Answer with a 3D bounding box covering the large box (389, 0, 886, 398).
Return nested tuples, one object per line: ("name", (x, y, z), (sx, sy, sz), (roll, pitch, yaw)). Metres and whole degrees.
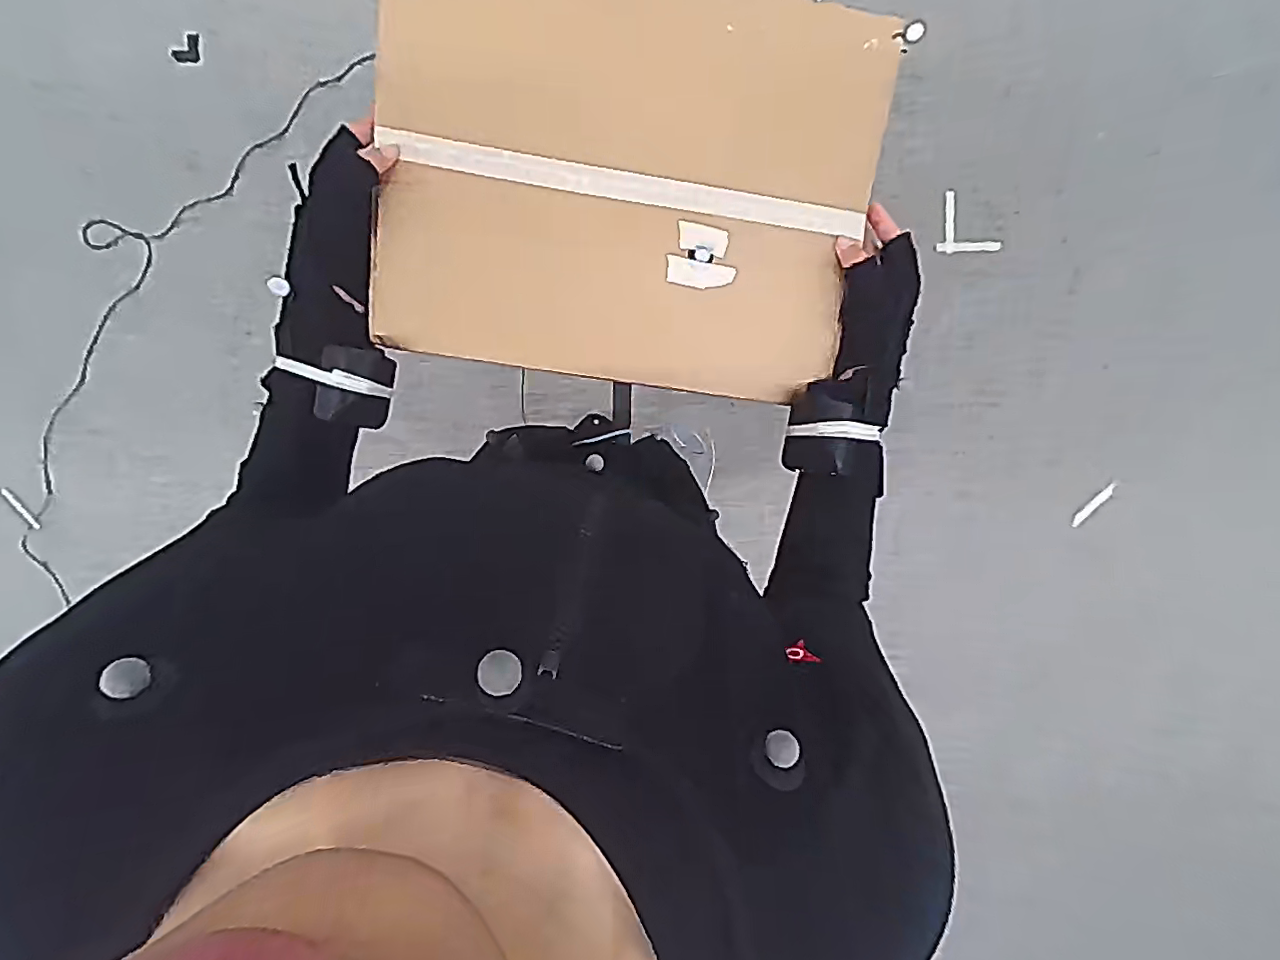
("large box", (-0.021, -0.276, 0.604), (0.408, 0.320, 0.320), (6, 103, -6))
